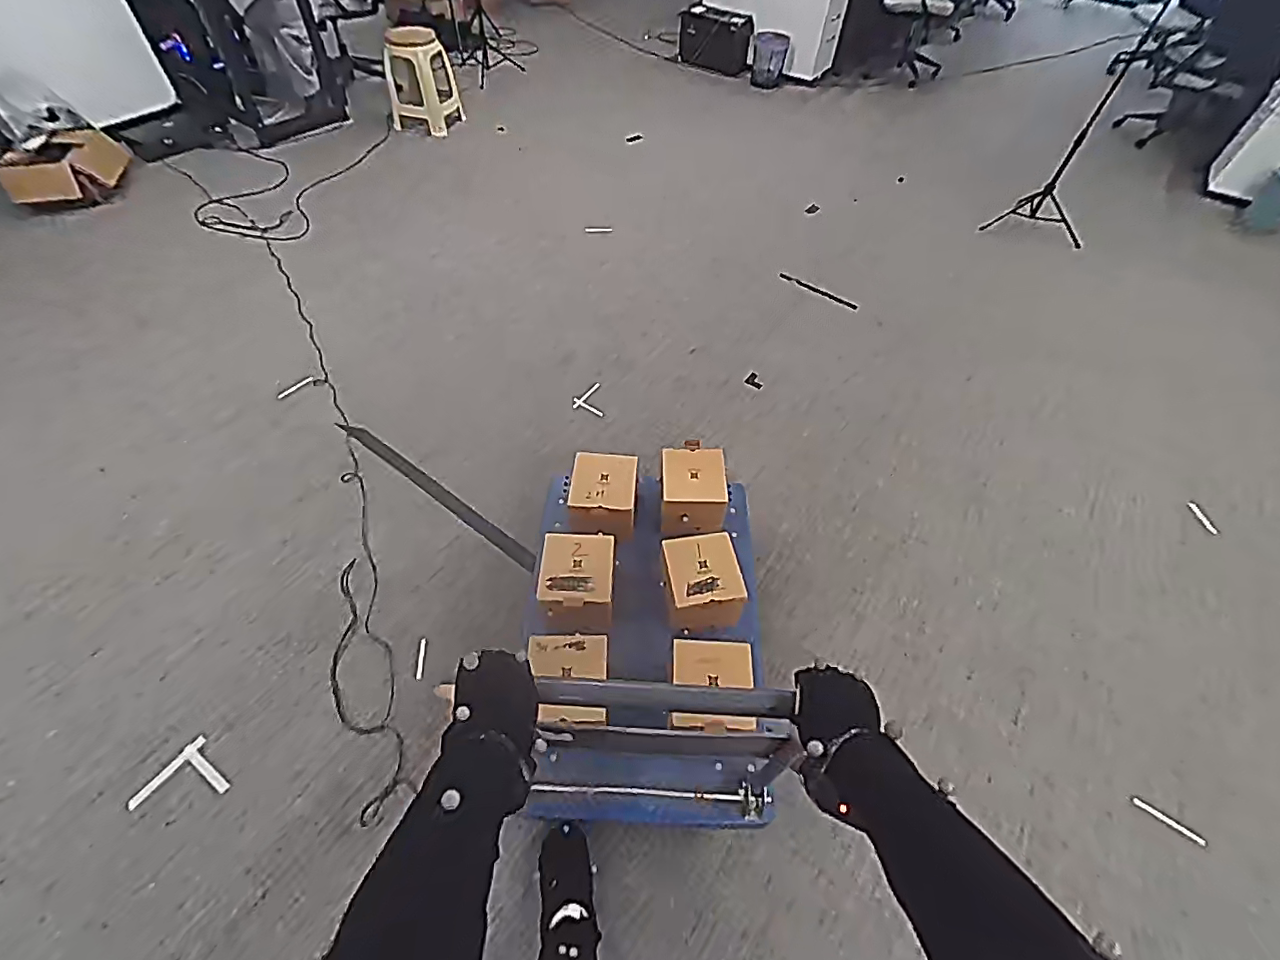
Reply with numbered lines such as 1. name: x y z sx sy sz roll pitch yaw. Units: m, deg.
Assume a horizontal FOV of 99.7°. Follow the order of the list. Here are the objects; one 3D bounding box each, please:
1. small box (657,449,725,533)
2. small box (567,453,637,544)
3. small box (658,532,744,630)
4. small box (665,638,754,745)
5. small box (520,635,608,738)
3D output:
1. small box: 0.134 0.035 1.481 0.168 0.176 0.179 1 53 -2
2. small box: -0.099 0.050 1.456 0.168 0.176 0.179 4 54 1
3. small box: 0.140 0.252 1.317 0.168 0.176 0.179 -6 53 -8
4. small box: 0.143 0.459 1.163 0.168 0.176 0.179 4 52 0
5. small box: -0.154 0.445 1.156 0.168 0.176 0.179 1 53 -3
